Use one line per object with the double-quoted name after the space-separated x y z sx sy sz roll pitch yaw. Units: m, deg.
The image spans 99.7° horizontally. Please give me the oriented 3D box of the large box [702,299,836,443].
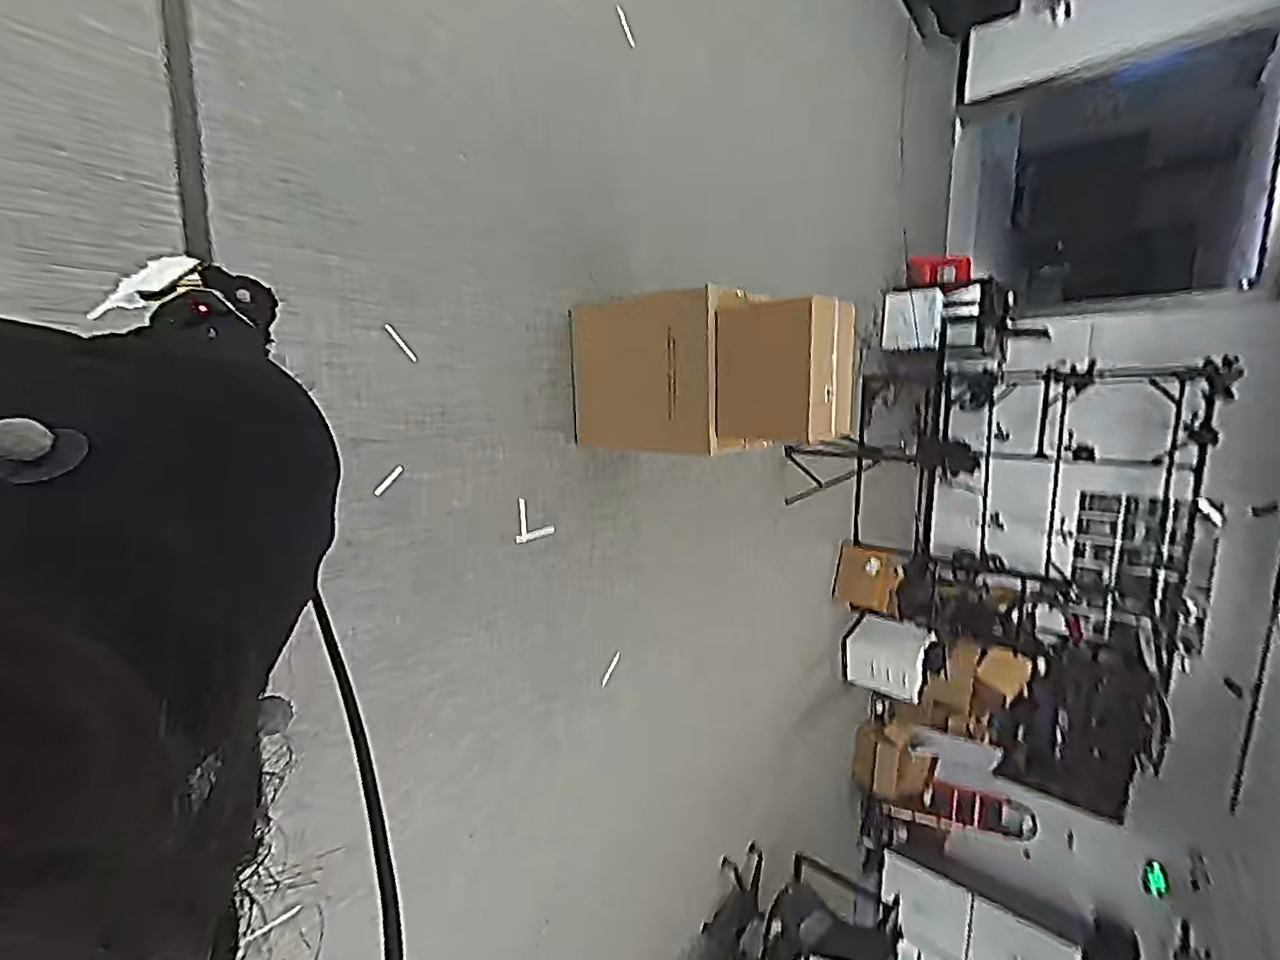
0.404 -0.340 1.703 0.320 0.320 0.408 -13 106 -48 "large box"
